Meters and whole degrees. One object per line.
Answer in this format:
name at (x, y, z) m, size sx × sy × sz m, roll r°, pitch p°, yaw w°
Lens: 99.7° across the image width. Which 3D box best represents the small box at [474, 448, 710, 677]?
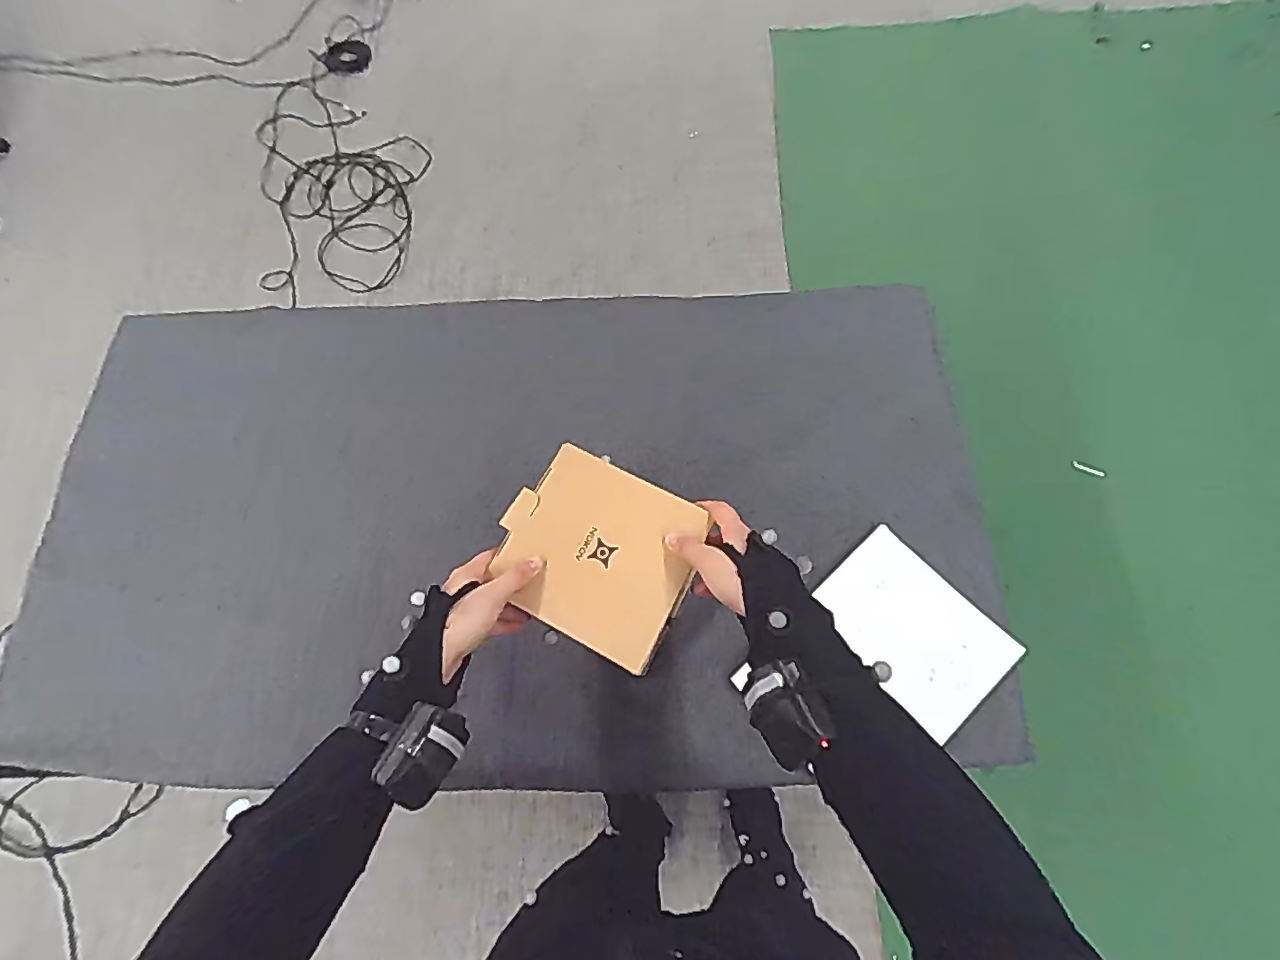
small box at (-0.039, 0.094, 0.588) m, size 0.179 × 0.176 × 0.168 m, roll 25°, pitch 75°, yaw 12°
